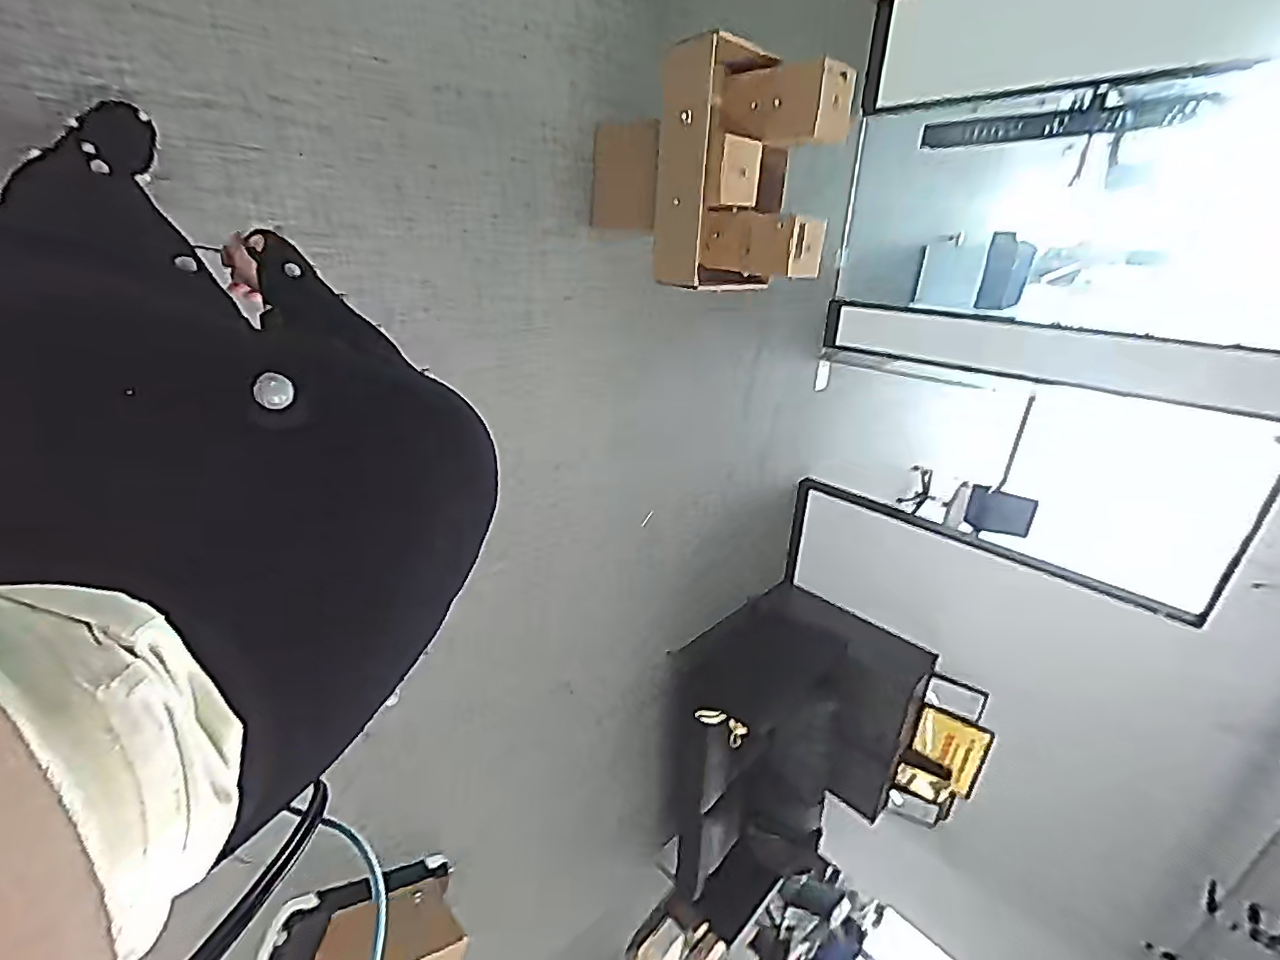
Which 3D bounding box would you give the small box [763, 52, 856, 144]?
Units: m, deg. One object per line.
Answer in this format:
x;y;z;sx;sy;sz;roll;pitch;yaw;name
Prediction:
0.460;-1.040;1.489;0.168;0.176;0.179;-19;123;-40;small box
